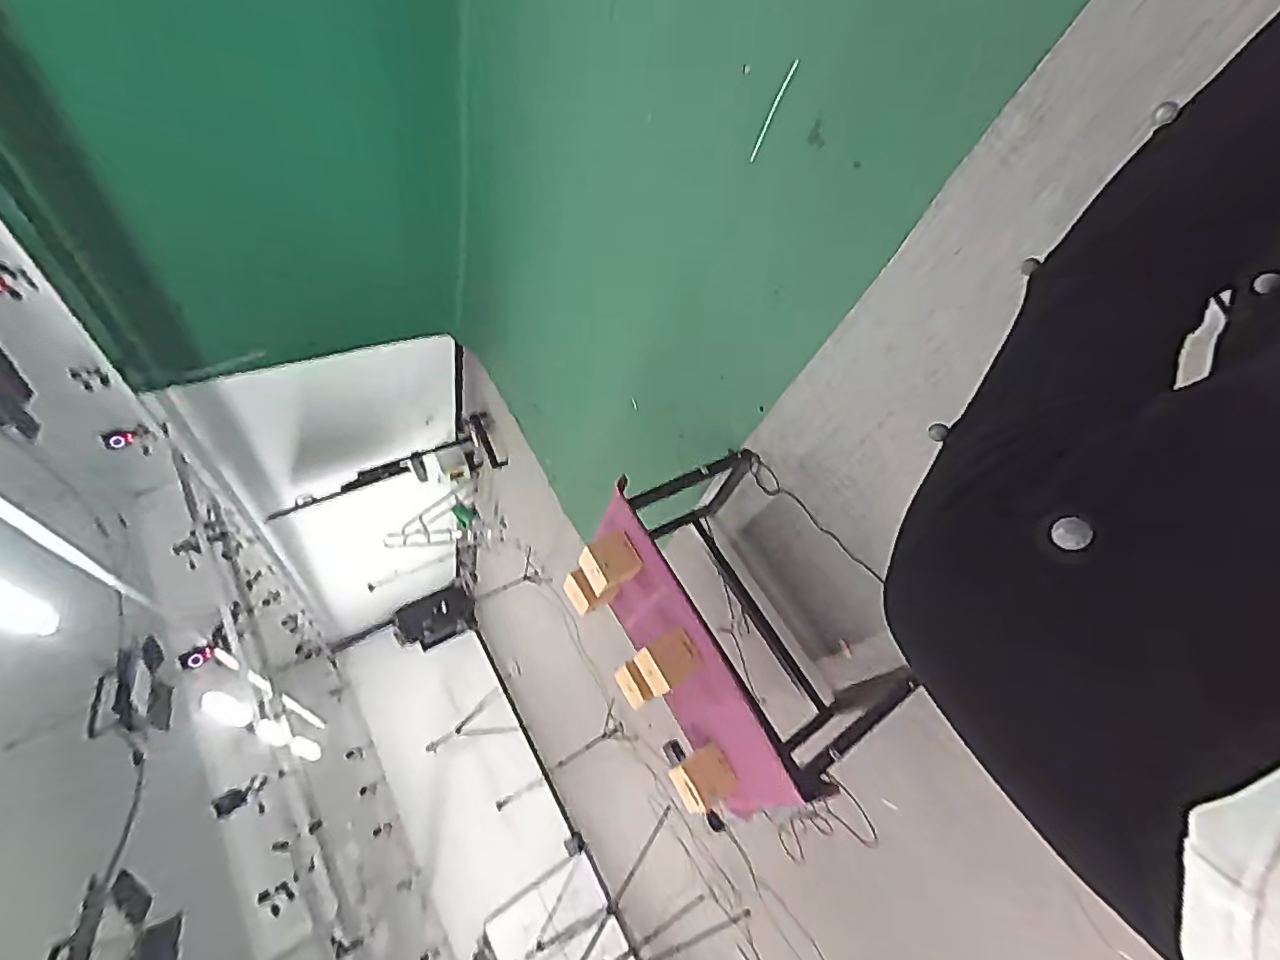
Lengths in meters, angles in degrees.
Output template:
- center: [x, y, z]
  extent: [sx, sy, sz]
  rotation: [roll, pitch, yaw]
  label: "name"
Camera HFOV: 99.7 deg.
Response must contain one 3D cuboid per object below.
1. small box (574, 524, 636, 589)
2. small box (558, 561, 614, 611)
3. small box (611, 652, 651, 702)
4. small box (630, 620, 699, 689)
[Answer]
- center: [-0.136, 0.297, 2.109]
  extent: [0.168, 0.176, 0.179]
  rotation: [57, 152, 14]
  label: "small box"
- center: [-0.235, 0.444, 2.373]
  extent: [0.168, 0.176, 0.179]
  rotation: [54, 147, 16]
  label: "small box"
- center: [0.005, 0.787, 2.231]
  extent: [0.168, 0.176, 0.179]
  rotation: [56, 148, 19]
  label: "small box"
- center: [0.090, 0.641, 1.986]
  extent: [0.168, 0.176, 0.179]
  rotation: [56, 150, 16]
  label: "small box"
